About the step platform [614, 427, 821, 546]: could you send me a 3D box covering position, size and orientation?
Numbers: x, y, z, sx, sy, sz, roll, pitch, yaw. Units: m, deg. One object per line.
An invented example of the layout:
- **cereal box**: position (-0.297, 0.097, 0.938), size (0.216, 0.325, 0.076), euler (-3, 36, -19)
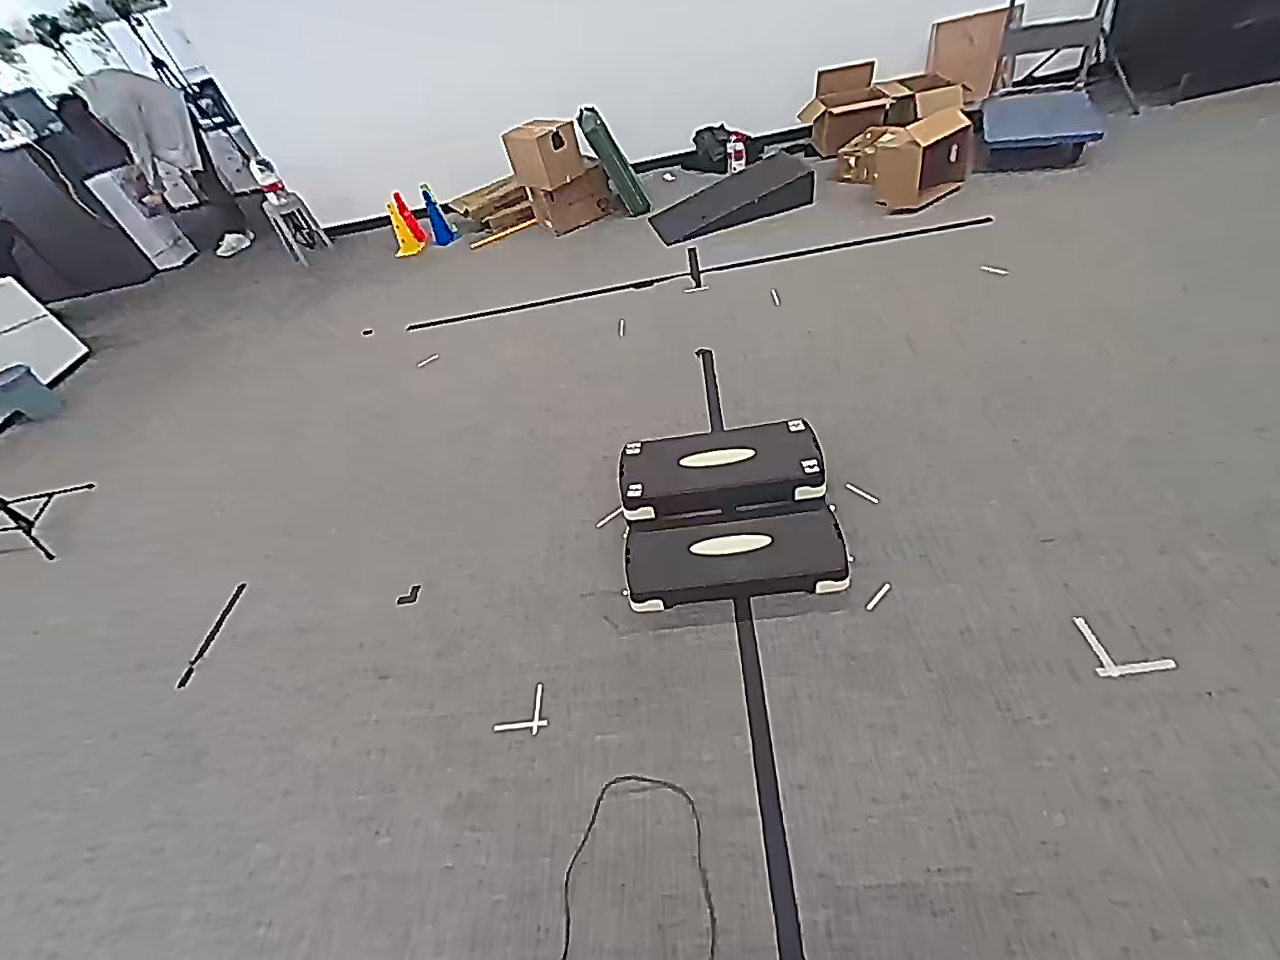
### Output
- **step platform**: position (0.253, 0.018, 1.839), size (0.684, 0.204, 0.286), euler (-8, 46, 6)
